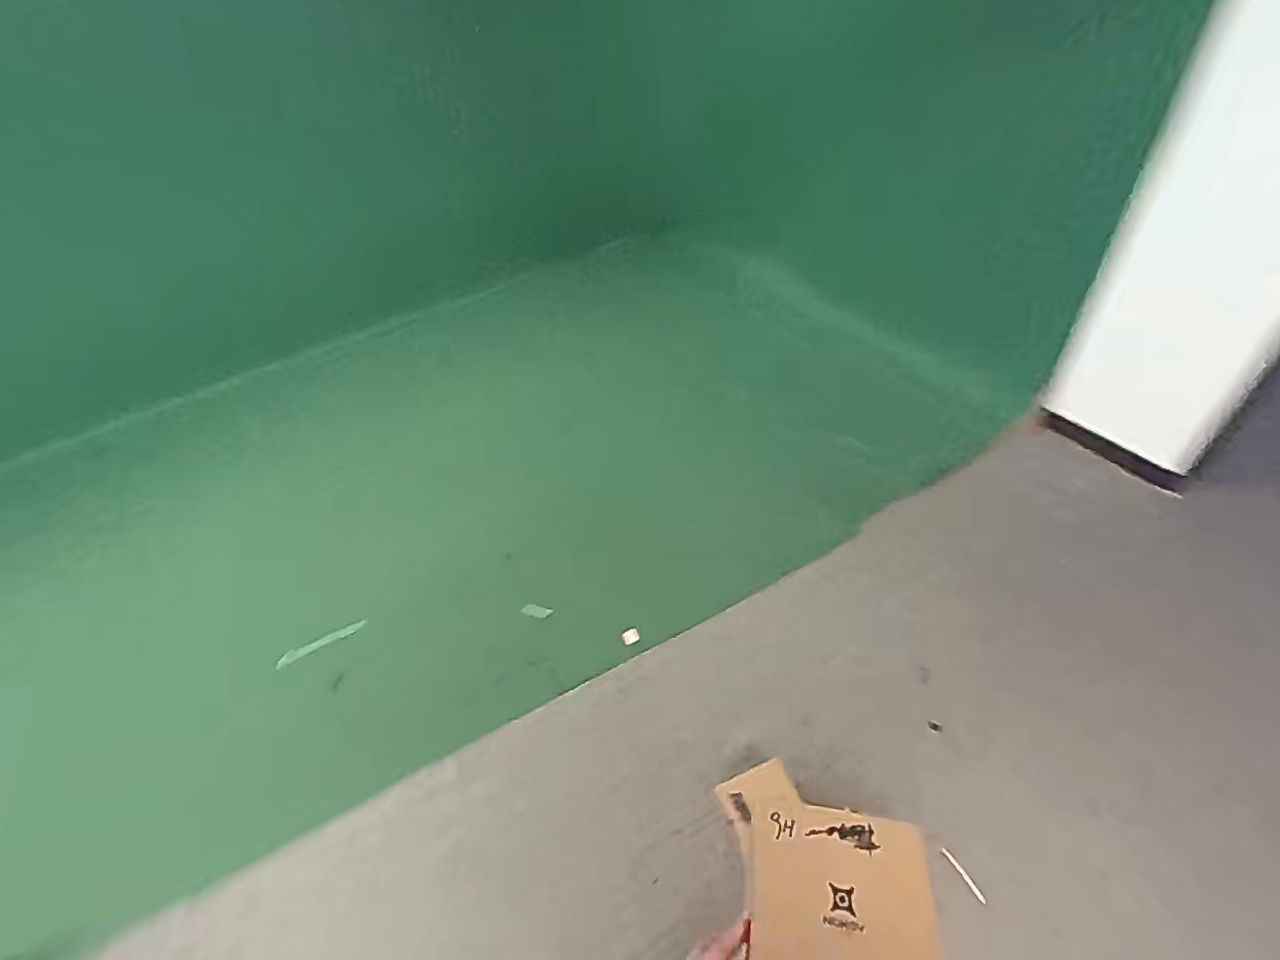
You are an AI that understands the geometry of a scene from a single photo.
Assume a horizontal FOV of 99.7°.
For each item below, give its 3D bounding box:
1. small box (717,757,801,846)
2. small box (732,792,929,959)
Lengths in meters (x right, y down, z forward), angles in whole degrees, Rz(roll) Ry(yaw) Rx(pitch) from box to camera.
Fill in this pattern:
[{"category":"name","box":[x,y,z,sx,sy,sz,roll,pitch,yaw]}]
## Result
[{"category":"small box","box":[0.309,0.832,1.347,0.179,0.176,0.168,-21,46,-8]},{"category":"small box","box":[0.184,0.457,0.555,0.168,0.176,0.179,4,41,10]}]
